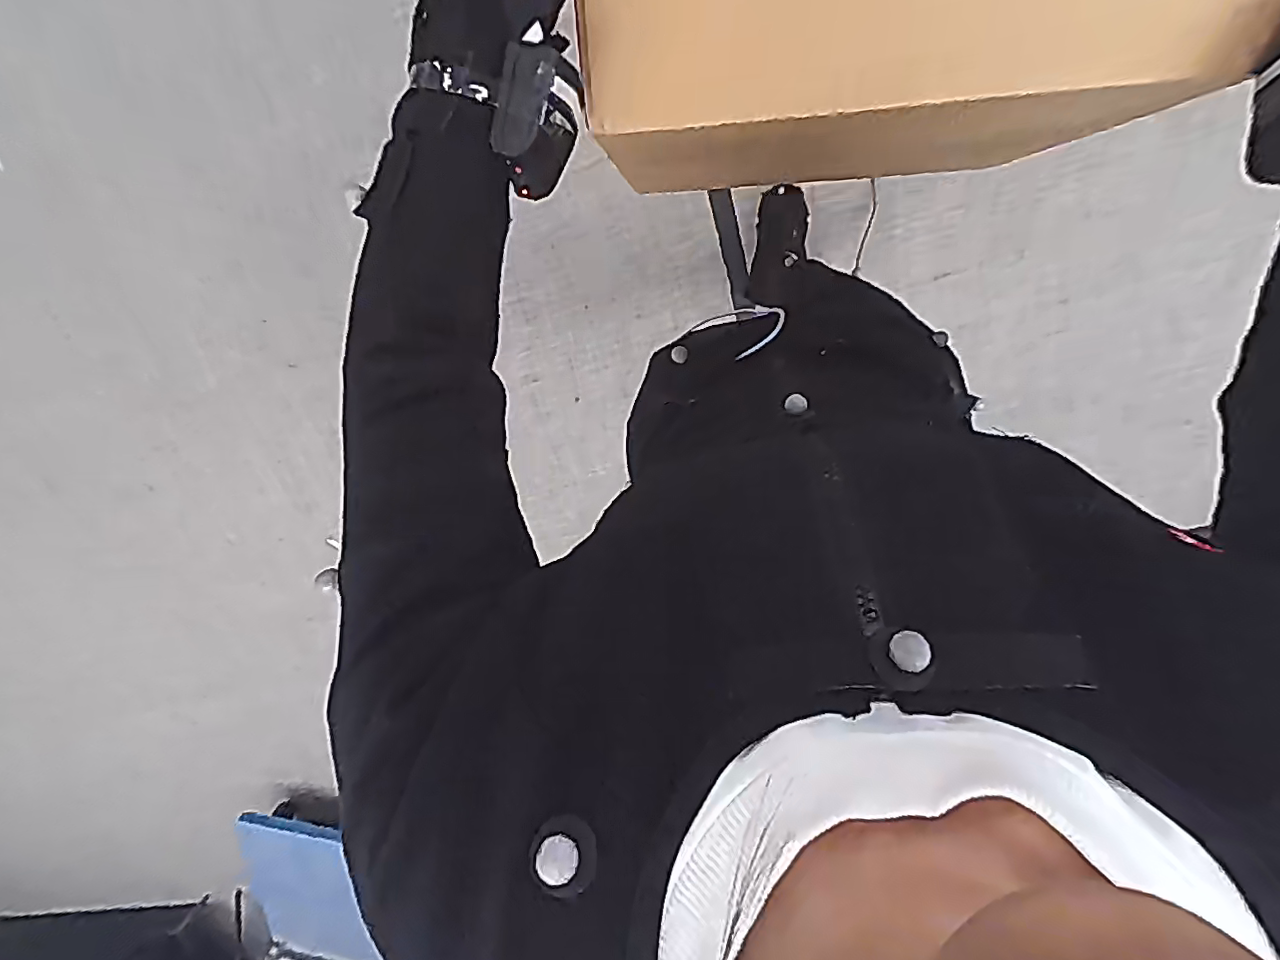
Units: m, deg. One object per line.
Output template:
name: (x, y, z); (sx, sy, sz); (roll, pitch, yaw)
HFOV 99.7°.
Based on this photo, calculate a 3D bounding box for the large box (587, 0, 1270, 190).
large box: (0.165, -0.440, 0.425); (0.408, 0.320, 0.320); (-3, 112, 6)
